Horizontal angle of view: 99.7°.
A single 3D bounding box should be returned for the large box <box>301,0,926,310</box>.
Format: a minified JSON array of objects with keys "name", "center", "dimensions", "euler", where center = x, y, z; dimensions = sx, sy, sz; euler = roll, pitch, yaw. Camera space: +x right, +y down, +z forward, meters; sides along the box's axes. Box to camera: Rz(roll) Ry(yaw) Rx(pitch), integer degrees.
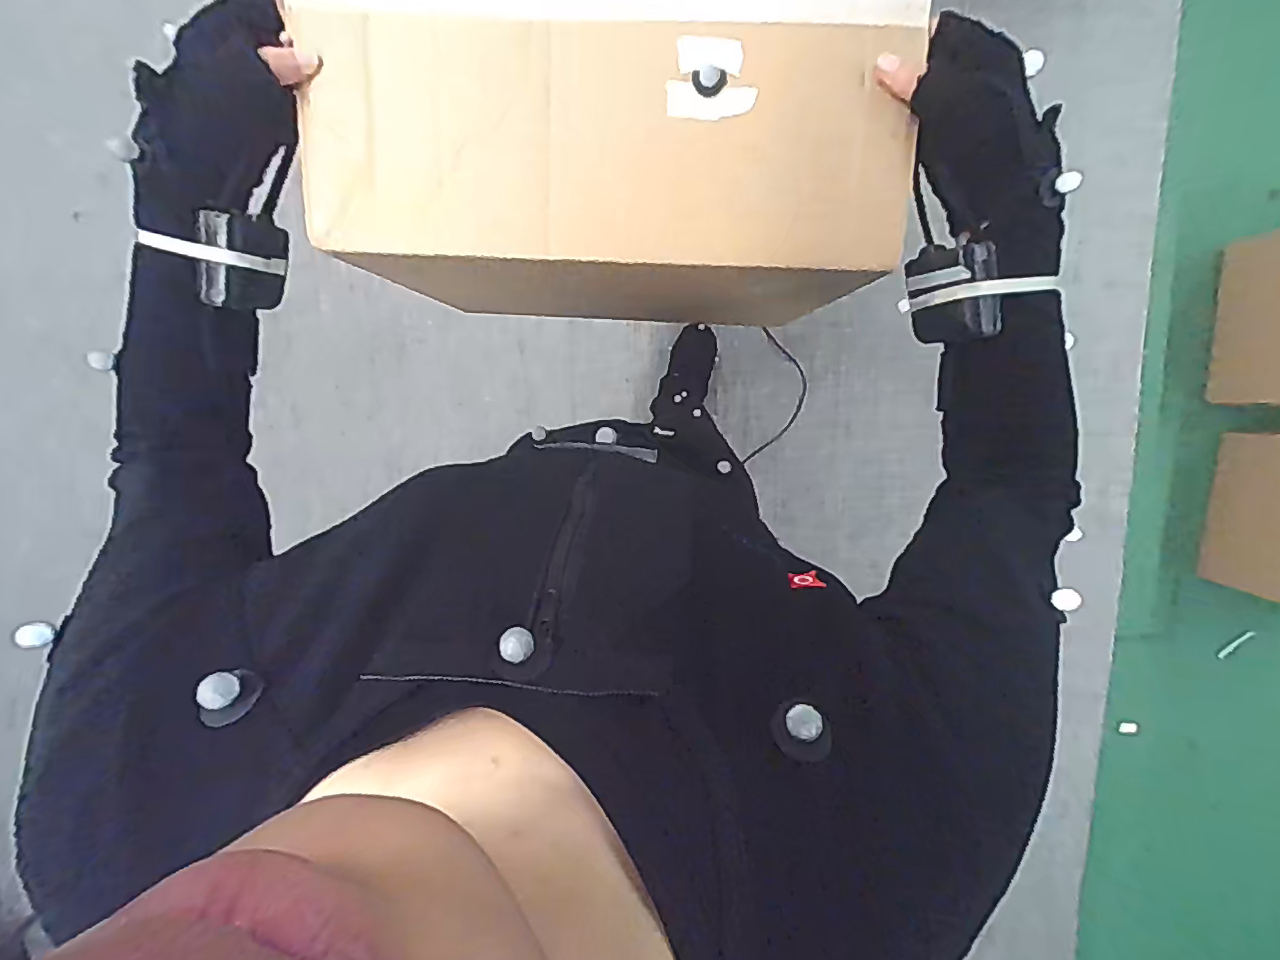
[{"name":"large box","center":[-0.018,-0.337,0.488],"dimensions":[0.408,0.320,0.320],"euler":[2,101,-1]}]
